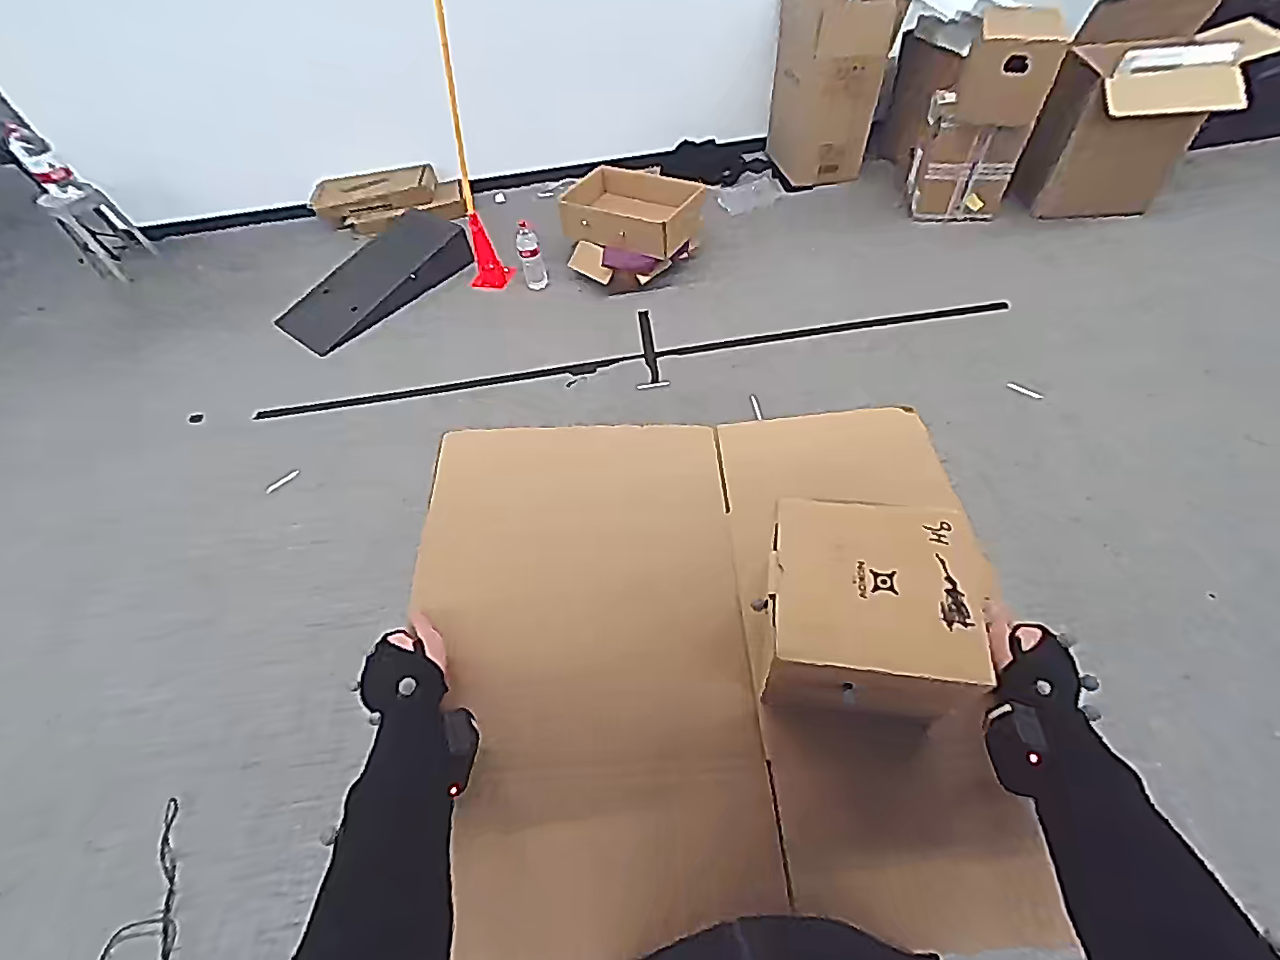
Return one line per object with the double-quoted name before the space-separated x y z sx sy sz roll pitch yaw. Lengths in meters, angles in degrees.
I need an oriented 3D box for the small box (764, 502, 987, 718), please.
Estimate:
"small box" 0.222 0.138 0.563 0.179 0.176 0.168 3 57 12
